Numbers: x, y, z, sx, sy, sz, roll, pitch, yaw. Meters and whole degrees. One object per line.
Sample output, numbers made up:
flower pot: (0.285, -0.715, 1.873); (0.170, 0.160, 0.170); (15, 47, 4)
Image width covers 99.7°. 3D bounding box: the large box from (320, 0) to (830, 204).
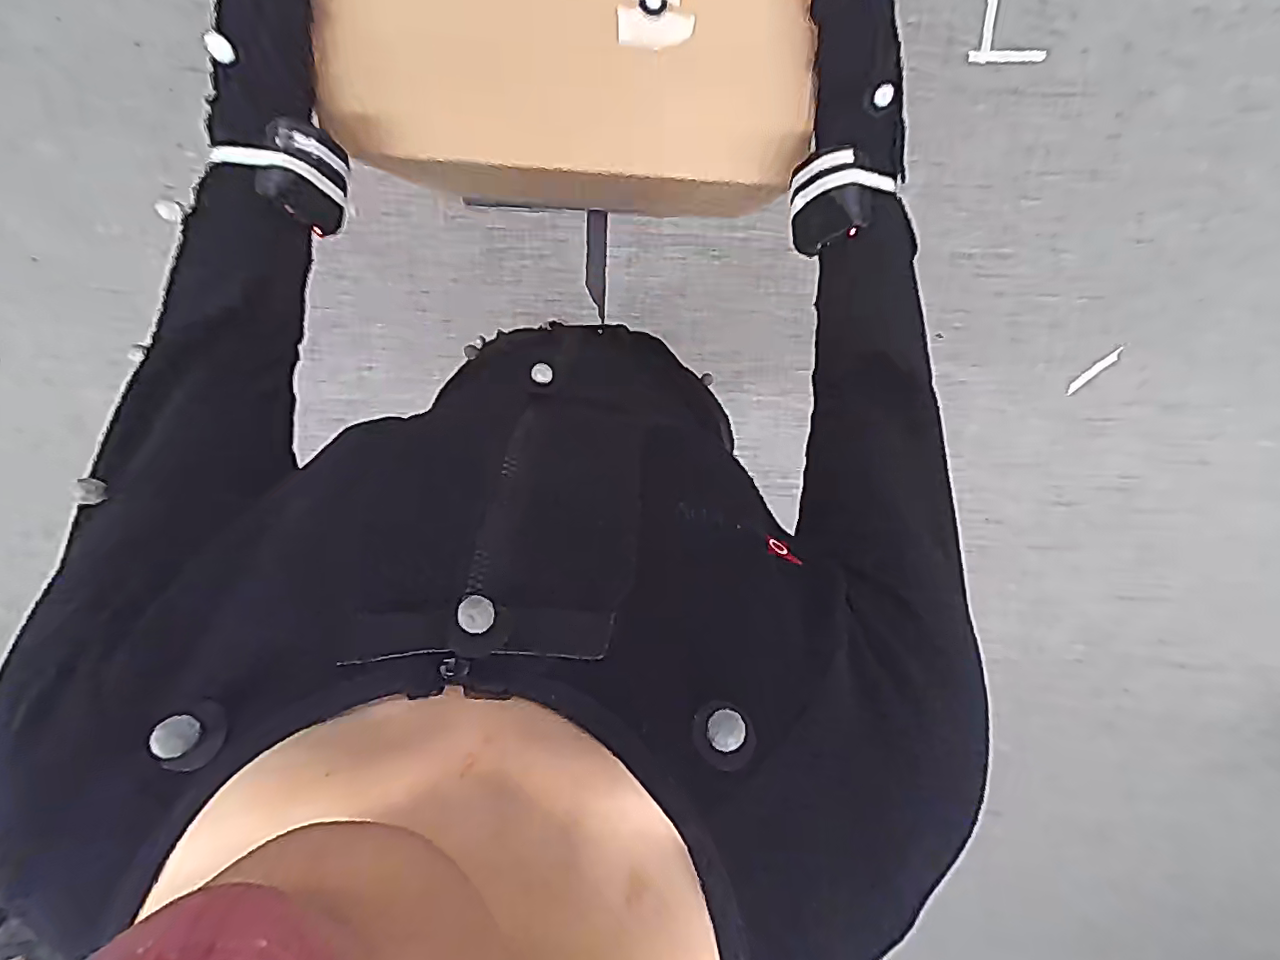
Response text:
large box: (-0.051, -0.473, 0.541); (0.408, 0.320, 0.320); (3, 112, -3)
